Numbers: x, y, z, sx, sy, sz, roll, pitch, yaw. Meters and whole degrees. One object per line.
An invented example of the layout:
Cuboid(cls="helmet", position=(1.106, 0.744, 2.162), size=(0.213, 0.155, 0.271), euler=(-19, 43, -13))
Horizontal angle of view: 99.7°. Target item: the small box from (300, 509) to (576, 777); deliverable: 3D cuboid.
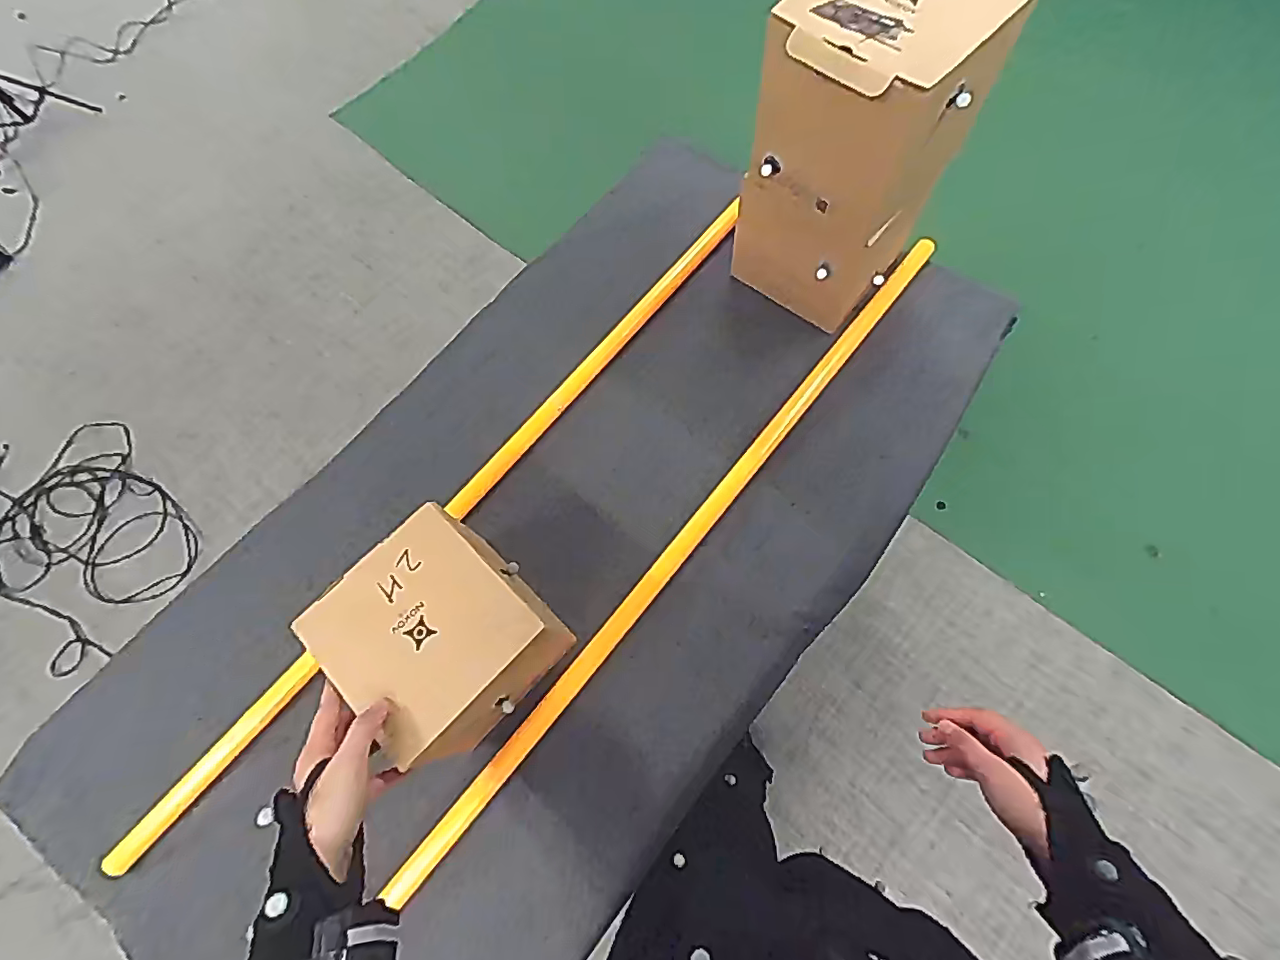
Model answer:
Cuboid(cls="small box", position=(-0.188, 0.162, 0.557), size=(0.168, 0.176, 0.179), euler=(-44, 72, -12))

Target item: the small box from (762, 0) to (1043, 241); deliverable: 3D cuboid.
Cuboid(cls="small box", position=(0.241, -0.385, 0.547), size=(0.168, 0.176, 0.179), euler=(42, 78, 16))
